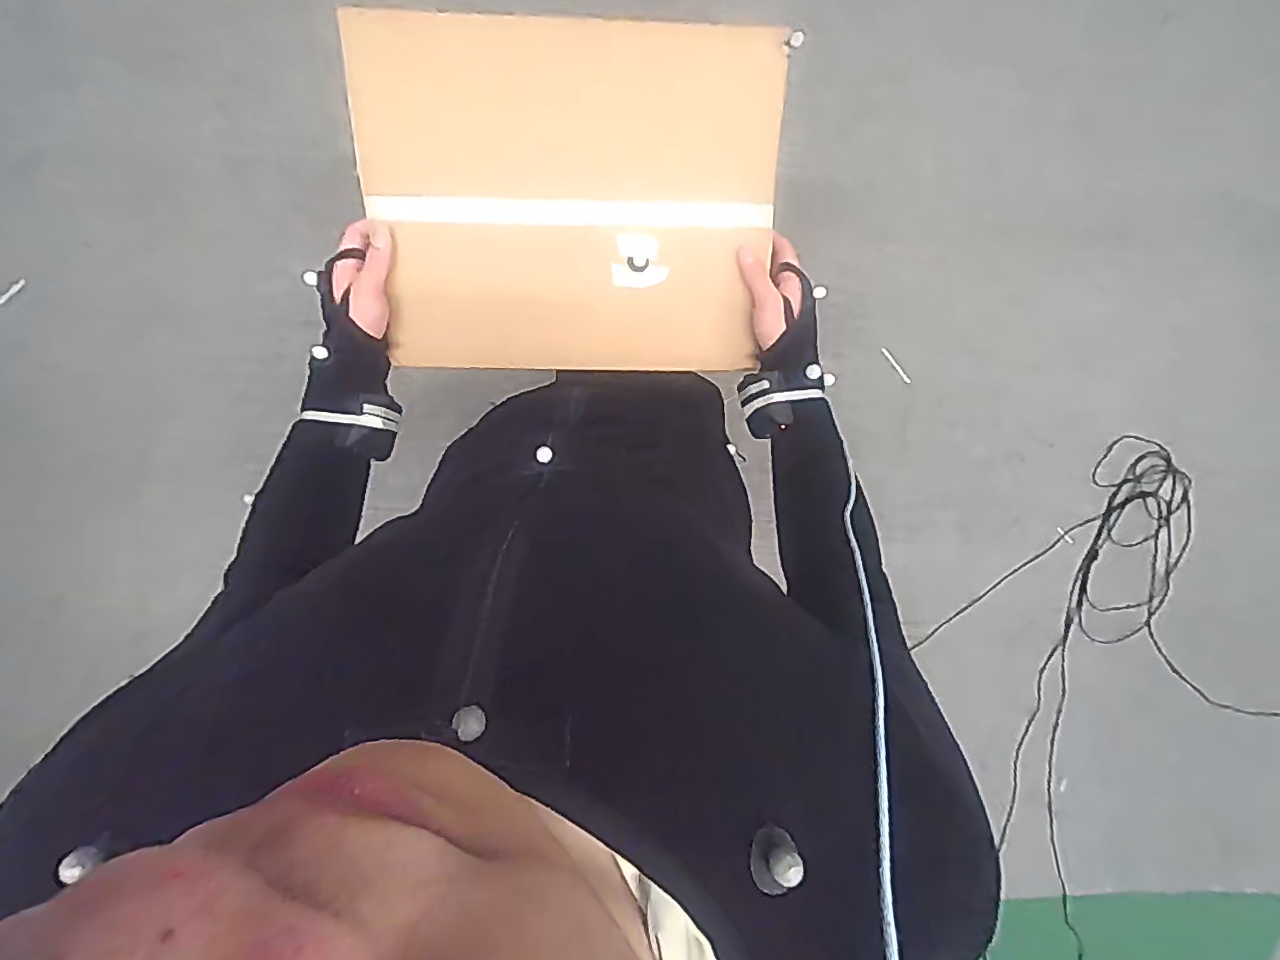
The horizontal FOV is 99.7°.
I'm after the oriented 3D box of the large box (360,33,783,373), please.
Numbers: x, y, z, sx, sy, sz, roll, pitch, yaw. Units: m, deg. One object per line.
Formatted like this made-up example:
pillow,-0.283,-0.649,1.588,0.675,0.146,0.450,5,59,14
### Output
large box,-0.070,-0.319,0.695,0.408,0.320,0.320,0,111,-3
